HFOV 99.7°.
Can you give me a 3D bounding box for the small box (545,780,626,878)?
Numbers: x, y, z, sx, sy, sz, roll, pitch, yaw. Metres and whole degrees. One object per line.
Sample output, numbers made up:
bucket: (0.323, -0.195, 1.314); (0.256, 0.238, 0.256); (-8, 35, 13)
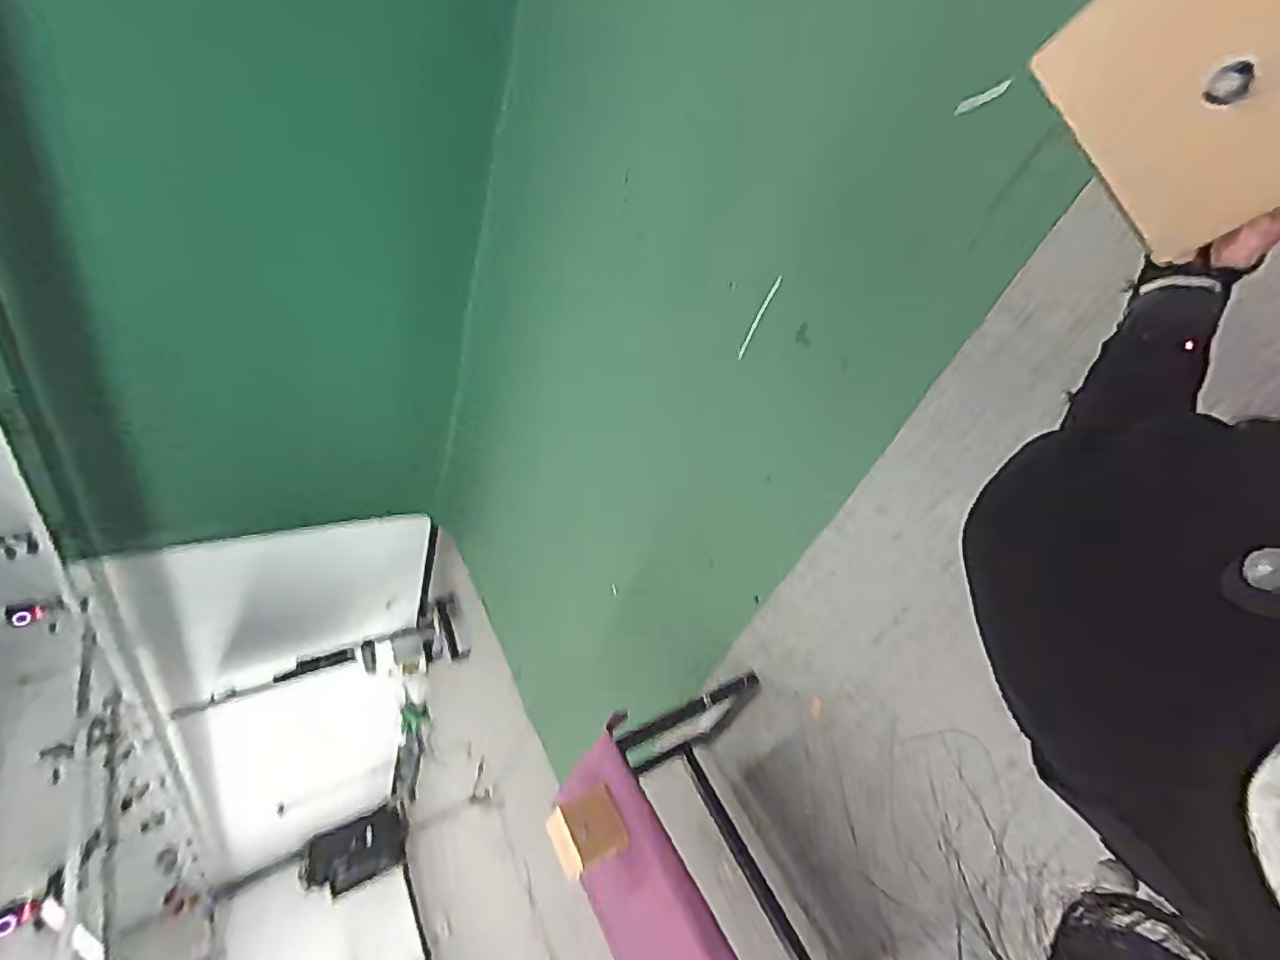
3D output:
small box: (-0.167, 1.071, 1.667); (0.179, 0.176, 0.168); (54, 136, 31)
